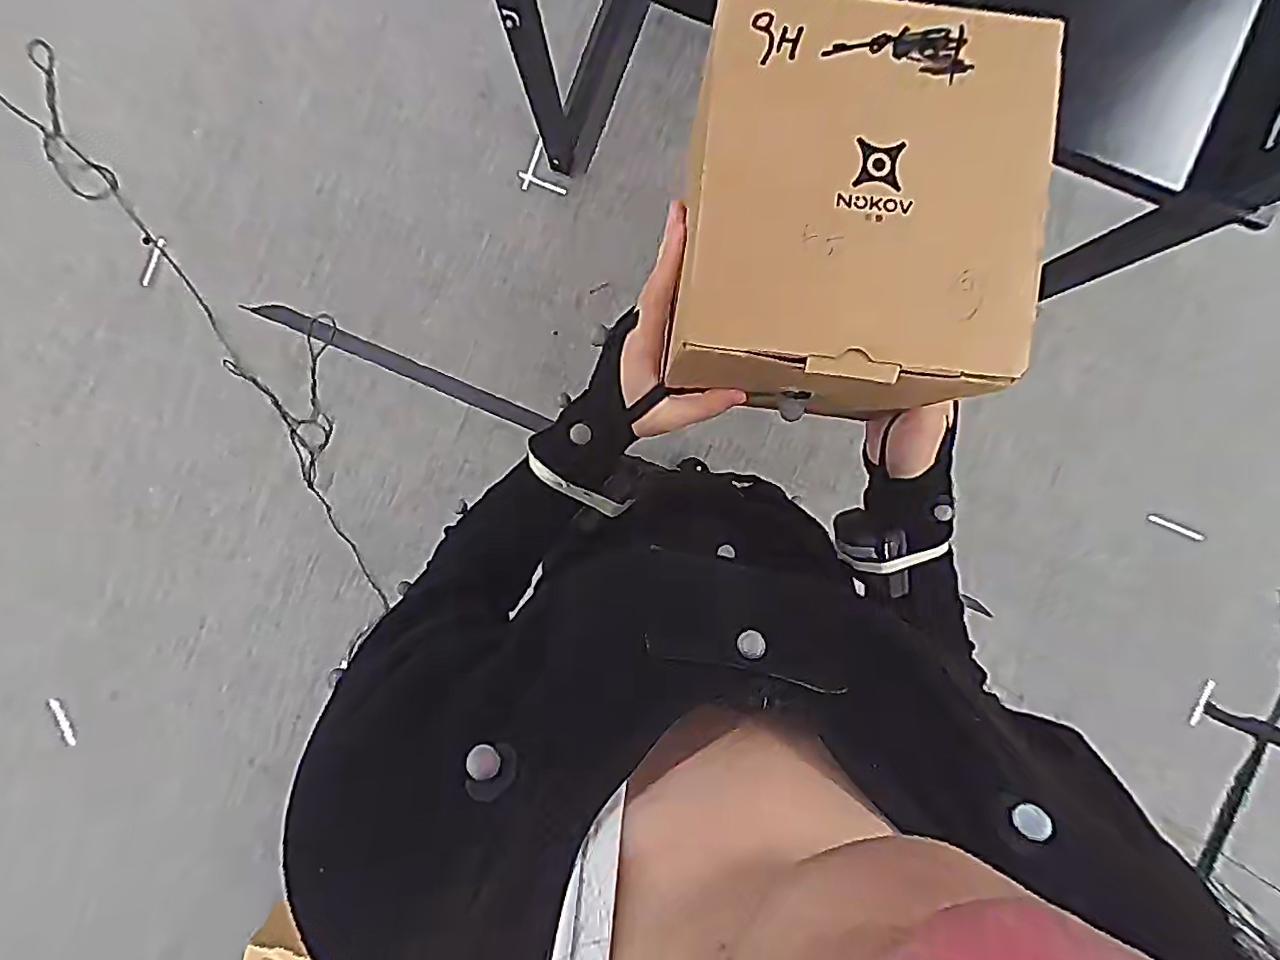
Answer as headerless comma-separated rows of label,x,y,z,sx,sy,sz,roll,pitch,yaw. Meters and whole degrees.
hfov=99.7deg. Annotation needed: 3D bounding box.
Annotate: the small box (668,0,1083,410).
small box,0.110,-0.141,0.328,0.168,0.176,0.179,6,91,-3
